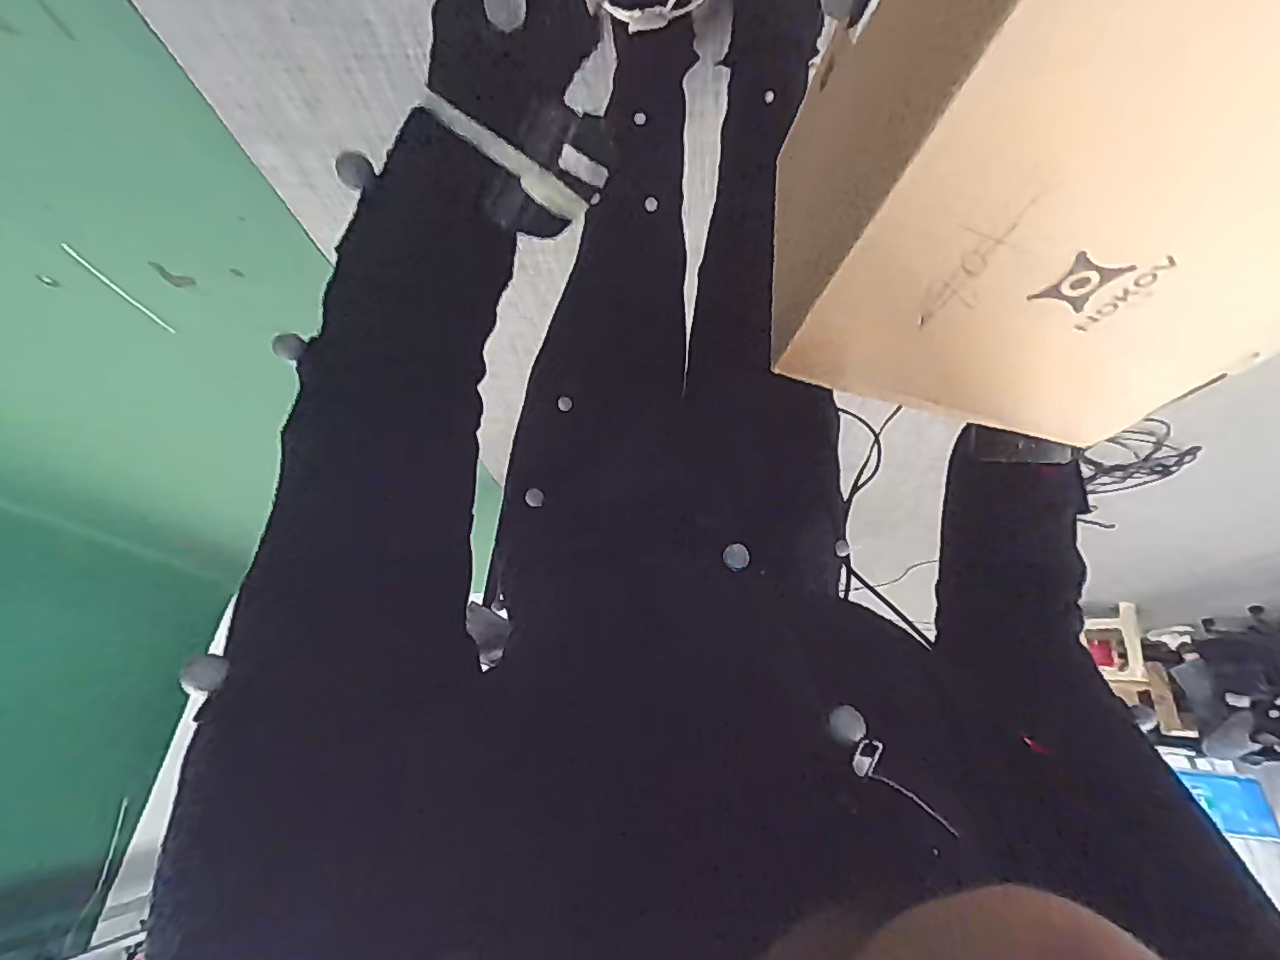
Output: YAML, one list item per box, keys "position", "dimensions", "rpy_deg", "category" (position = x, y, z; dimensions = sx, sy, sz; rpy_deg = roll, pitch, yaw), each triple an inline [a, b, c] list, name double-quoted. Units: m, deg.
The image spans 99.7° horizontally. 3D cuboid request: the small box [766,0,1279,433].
- position: [0.169, -0.147, 0.236]
  dimensions: [0.179, 0.176, 0.168]
  rpy_deg: [12, 151, -6]
  category: "small box"
